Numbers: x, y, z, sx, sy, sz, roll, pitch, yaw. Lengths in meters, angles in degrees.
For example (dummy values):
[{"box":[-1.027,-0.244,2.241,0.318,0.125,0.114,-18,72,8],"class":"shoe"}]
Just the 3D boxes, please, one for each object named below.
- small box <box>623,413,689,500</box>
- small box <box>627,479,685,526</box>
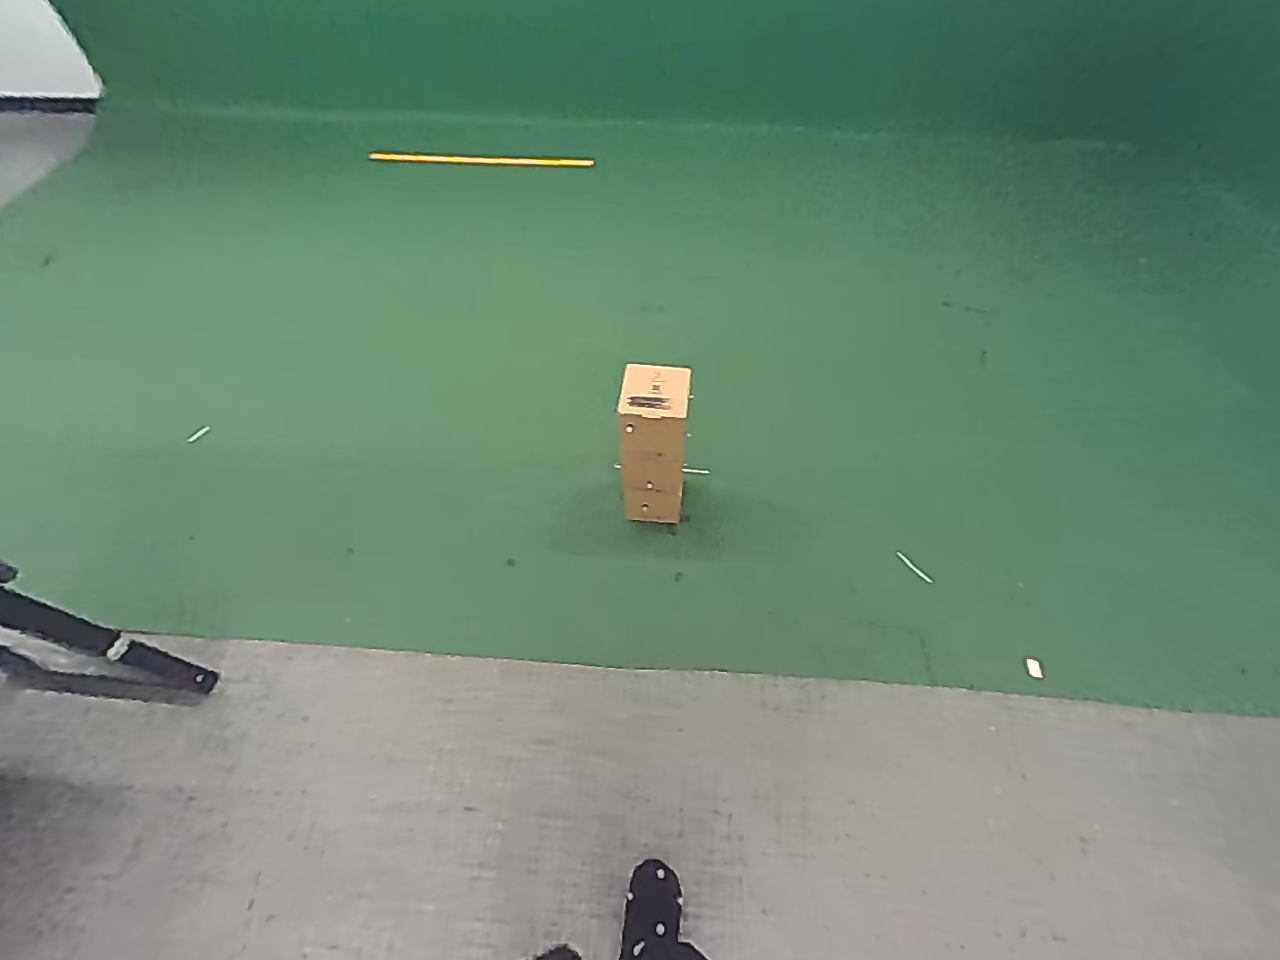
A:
[{"box":[0.048,-0.066,1.534,0.168,0.176,0.179,5,55,6],"class":"small box"},{"box":[0.055,0.029,1.669,0.168,0.176,0.179,3,55,4],"class":"small box"}]
